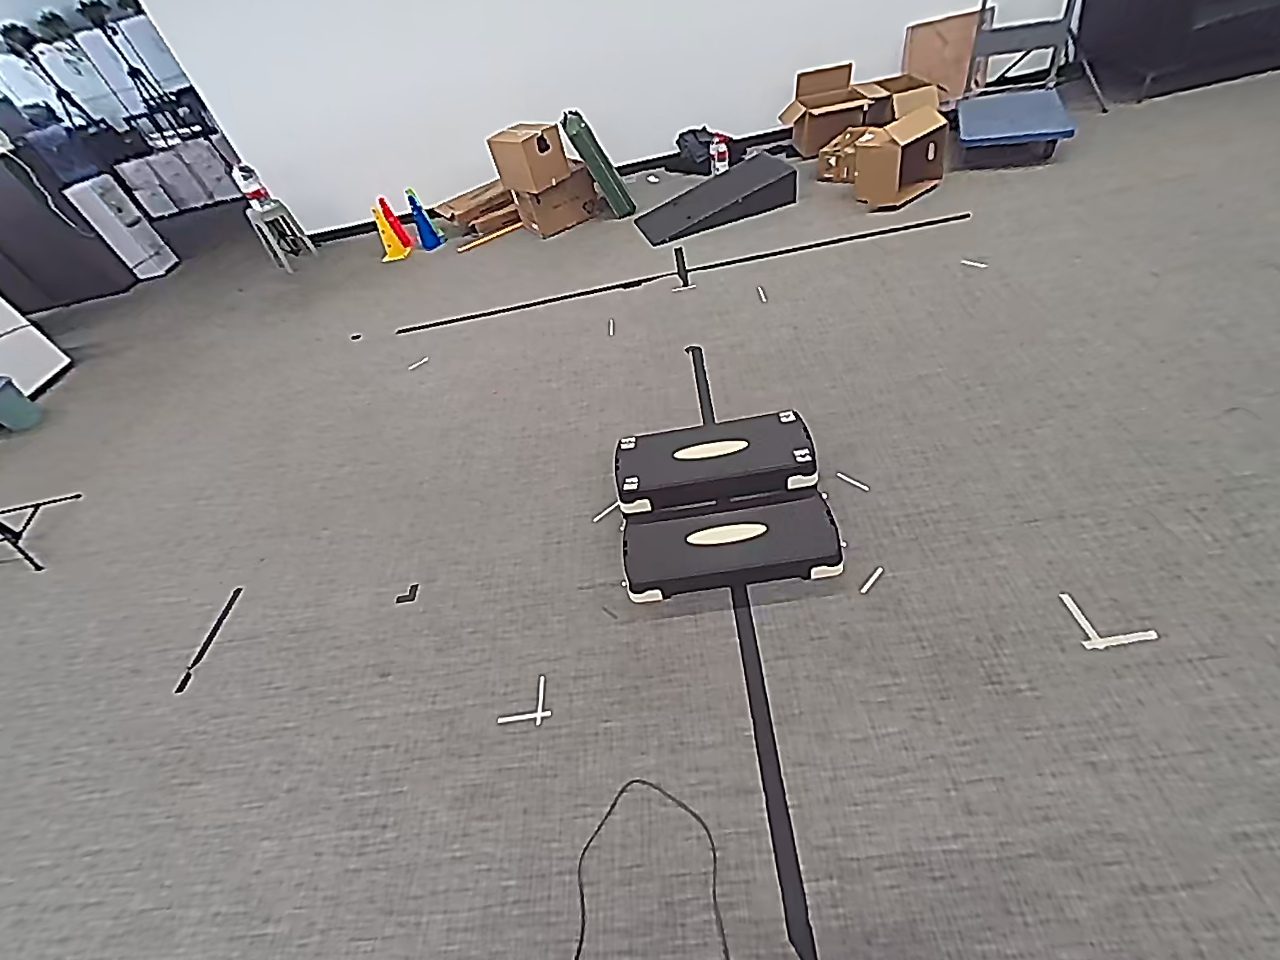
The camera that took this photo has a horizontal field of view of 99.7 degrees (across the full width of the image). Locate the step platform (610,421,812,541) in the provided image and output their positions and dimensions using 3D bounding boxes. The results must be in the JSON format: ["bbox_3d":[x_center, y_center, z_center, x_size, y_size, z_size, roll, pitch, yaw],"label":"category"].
[{"bbox_3d":[0.236,0.000,1.877,0.684,0.204,0.286,-10,46,5],"label":"step platform"}]
